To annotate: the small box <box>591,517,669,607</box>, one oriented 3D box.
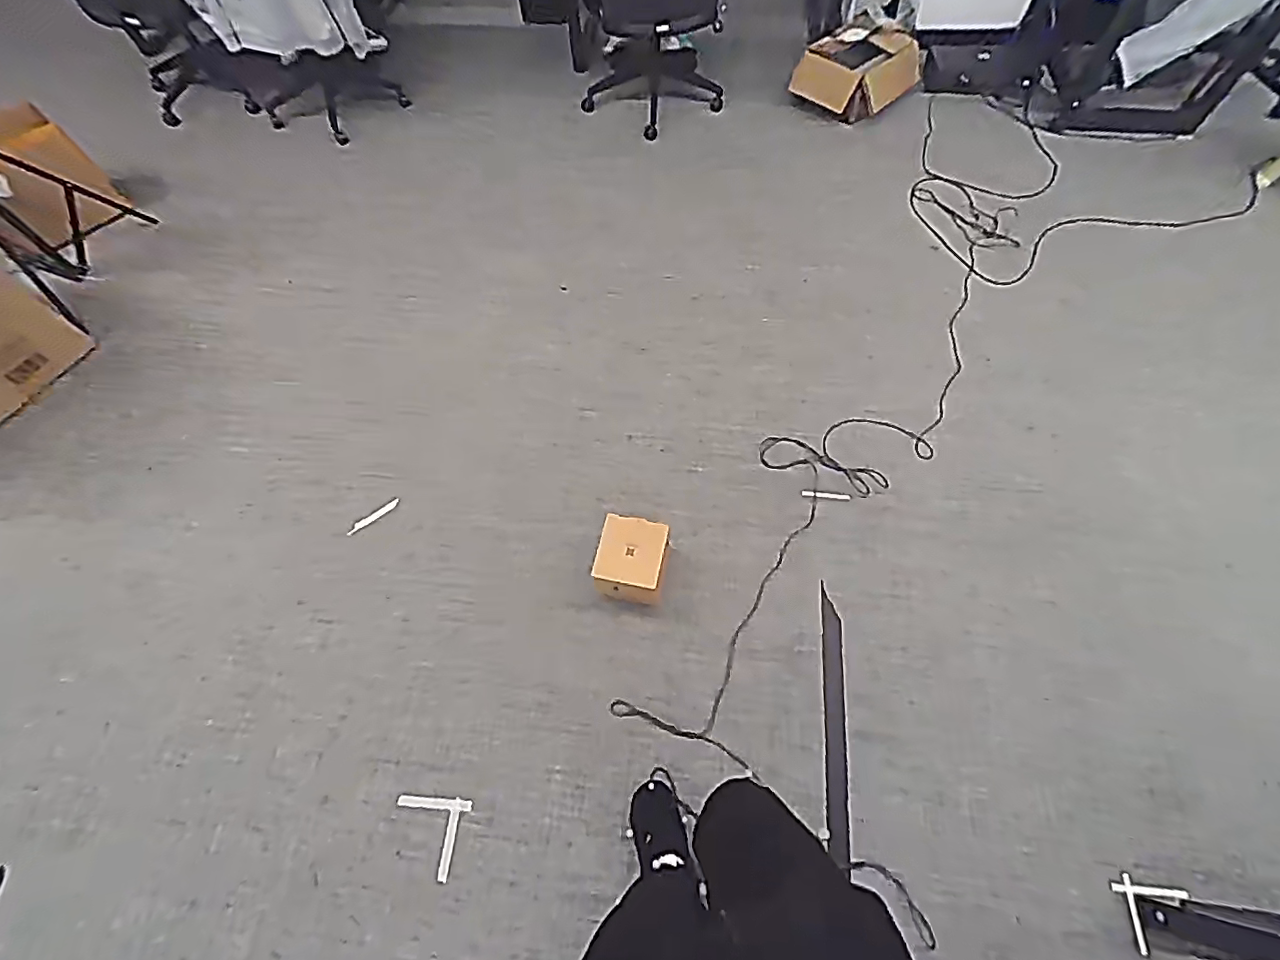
[{"bbox_3d":[-0.018,0.220,1.420,0.168,0.176,0.179,10,63,8],"label":"small box"}]
